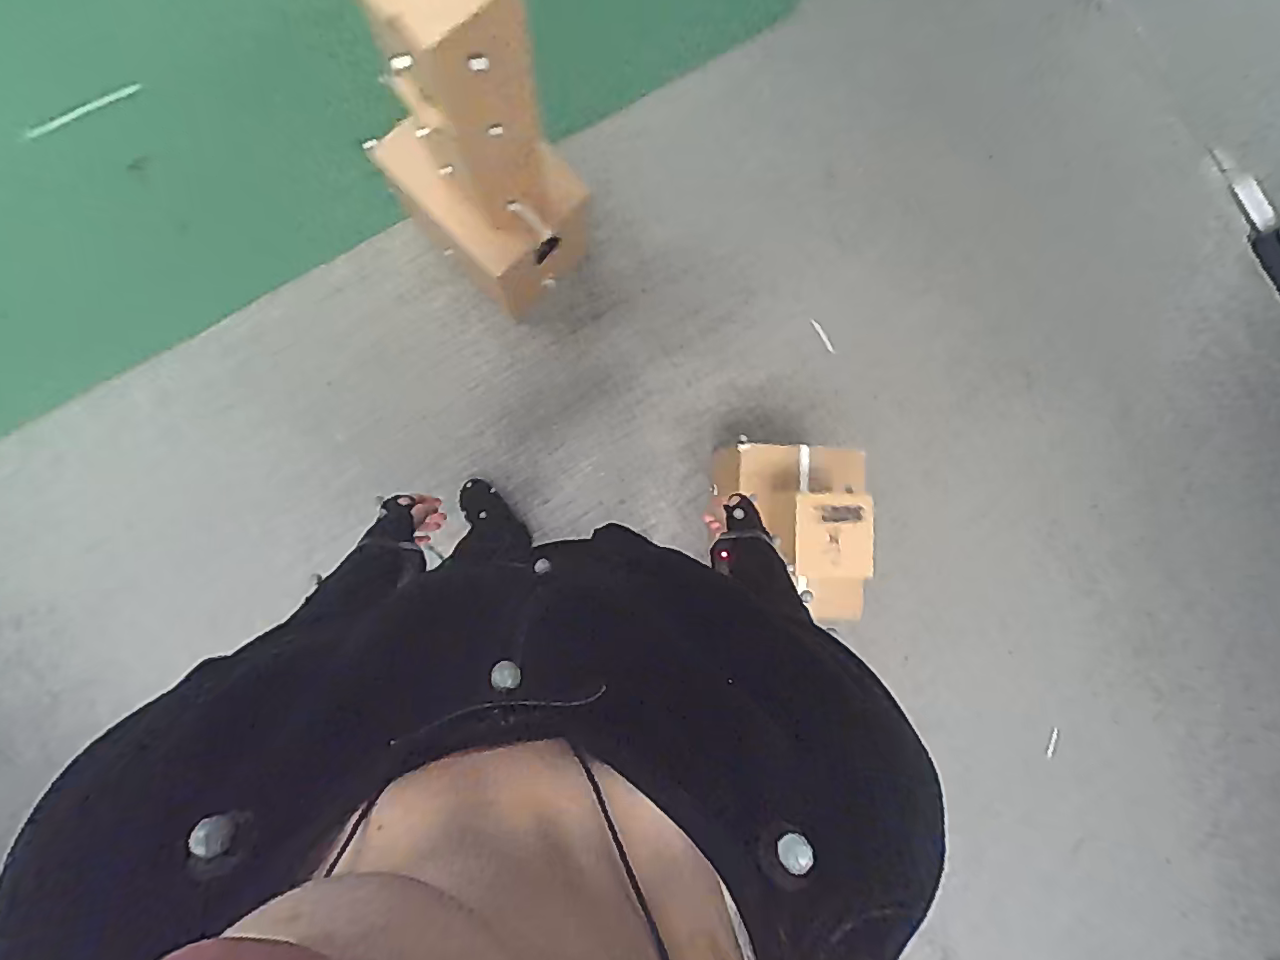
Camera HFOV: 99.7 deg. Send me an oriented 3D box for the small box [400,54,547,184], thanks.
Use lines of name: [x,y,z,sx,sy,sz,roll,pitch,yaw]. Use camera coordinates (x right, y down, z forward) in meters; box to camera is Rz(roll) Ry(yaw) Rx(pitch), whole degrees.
small box: [-0.287,-0.684,0.977,0.179,0.176,0.168,-40,92,-4]

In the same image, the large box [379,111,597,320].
large box: [-0.354,-0.693,1.382,0.408,0.320,0.320,45,84,-1]

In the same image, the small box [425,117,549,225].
small box: [-0.312,-0.683,1.139,0.168,0.176,0.179,-42,92,-4]

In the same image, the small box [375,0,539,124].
small box: [-0.273,-0.694,0.813,0.179,0.176,0.168,-41,92,-3]
